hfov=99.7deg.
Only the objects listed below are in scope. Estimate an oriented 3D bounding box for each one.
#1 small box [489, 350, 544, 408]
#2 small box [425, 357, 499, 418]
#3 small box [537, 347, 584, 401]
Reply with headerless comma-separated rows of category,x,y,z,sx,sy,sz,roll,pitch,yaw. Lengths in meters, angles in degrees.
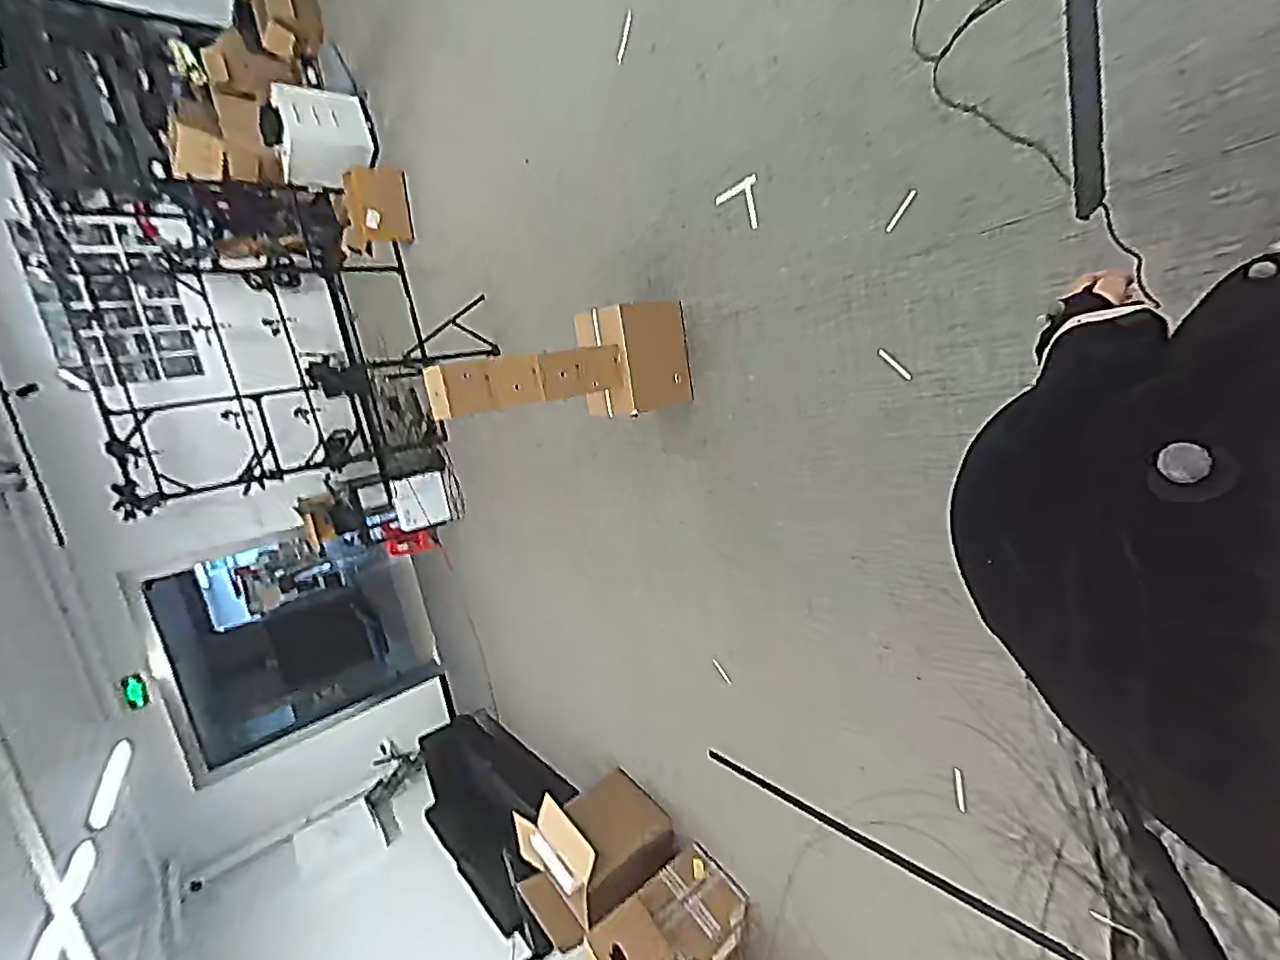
small box,-0.436,-0.338,1.825,0.179,0.176,0.168,5,109,52
small box,-0.564,-0.296,1.734,0.179,0.176,0.168,5,108,54
small box,-0.312,-0.377,1.923,0.179,0.176,0.168,8,111,50
